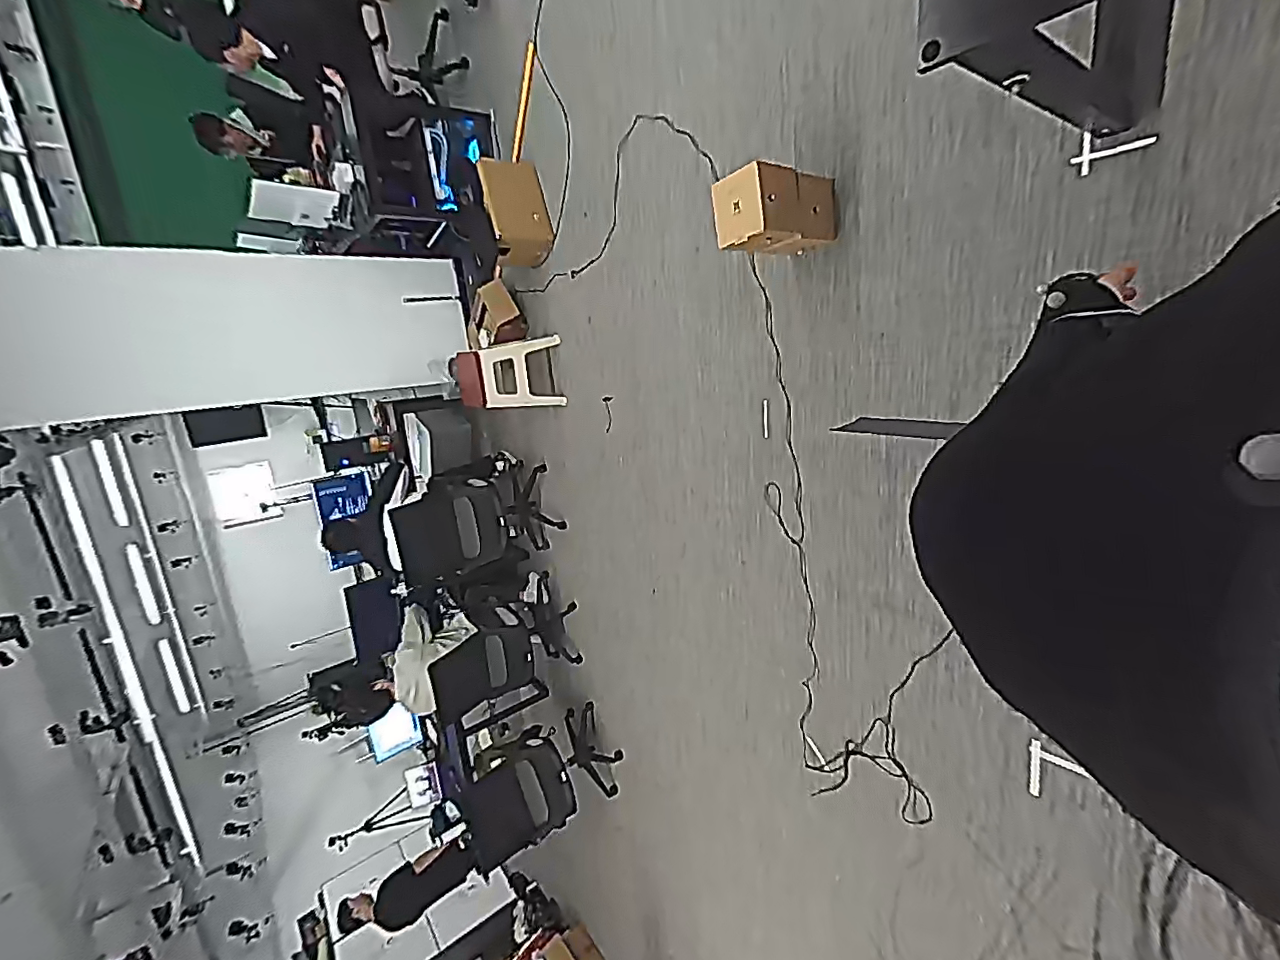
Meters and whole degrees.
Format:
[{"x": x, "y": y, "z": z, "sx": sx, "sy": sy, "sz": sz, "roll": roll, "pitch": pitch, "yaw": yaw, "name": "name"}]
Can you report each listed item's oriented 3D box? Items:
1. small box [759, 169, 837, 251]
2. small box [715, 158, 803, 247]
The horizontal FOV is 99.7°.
[{"x": 0.462, "y": -0.785, "z": 1.590, "sx": 0.168, "sy": 0.176, "sz": 0.179, "roll": 8, "pitch": 109, "yaw": 53, "name": "small box"}, {"x": 0.332, "y": -0.757, "z": 1.496, "sx": 0.168, "sy": 0.176, "sz": 0.179, "roll": 2, "pitch": 103, "yaw": 52, "name": "small box"}]
